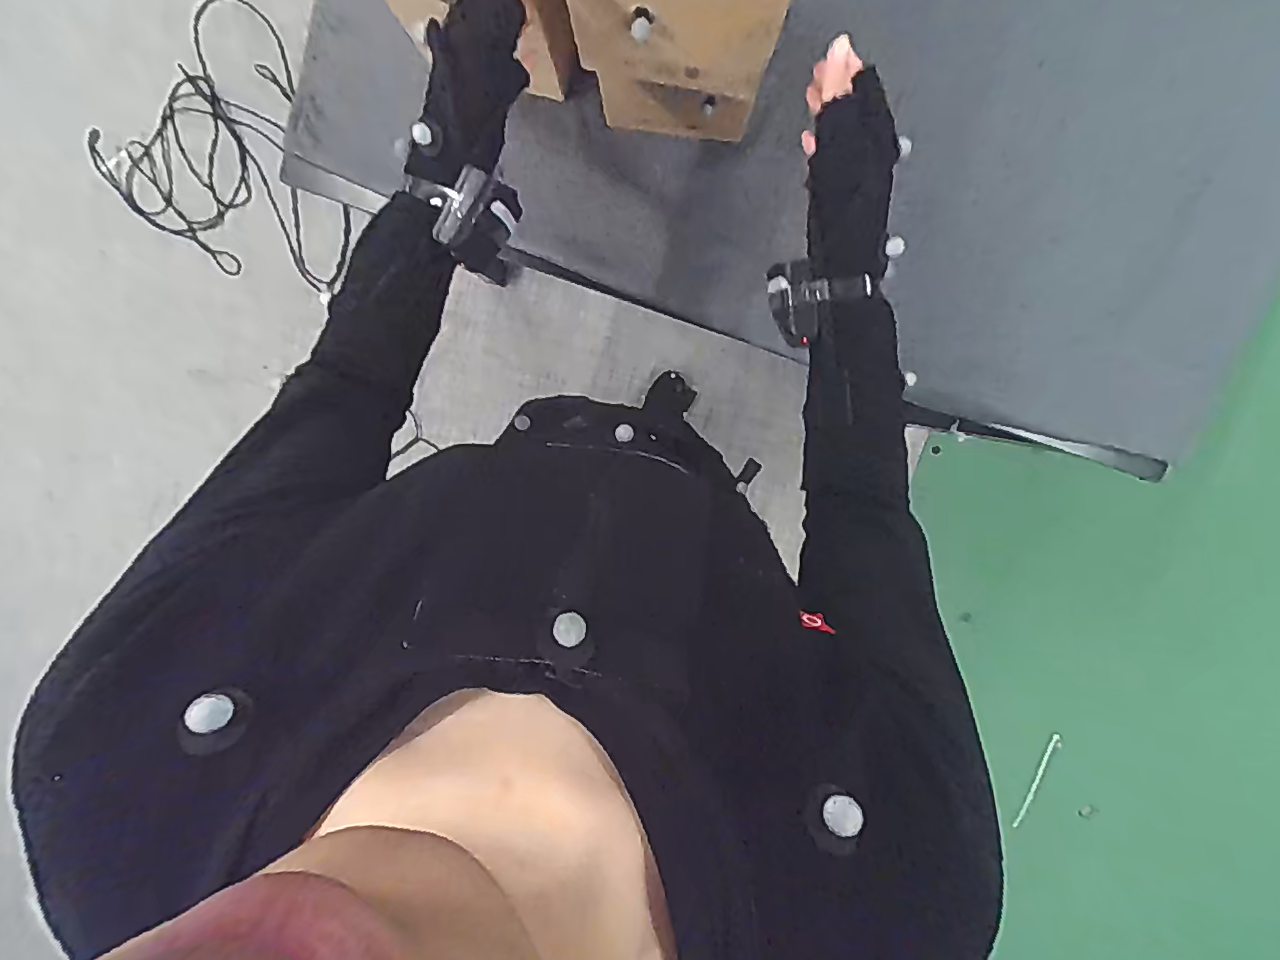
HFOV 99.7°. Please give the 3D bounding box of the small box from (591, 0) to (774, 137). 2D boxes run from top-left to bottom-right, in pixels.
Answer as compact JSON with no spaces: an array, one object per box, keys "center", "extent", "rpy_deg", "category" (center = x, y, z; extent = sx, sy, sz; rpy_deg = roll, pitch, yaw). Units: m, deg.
[{"center":[0.049,-0.492,0.564],"extent":[0.168,0.176,0.179],"rpy_deg":[8,100,-1],"category":"small box"}]
